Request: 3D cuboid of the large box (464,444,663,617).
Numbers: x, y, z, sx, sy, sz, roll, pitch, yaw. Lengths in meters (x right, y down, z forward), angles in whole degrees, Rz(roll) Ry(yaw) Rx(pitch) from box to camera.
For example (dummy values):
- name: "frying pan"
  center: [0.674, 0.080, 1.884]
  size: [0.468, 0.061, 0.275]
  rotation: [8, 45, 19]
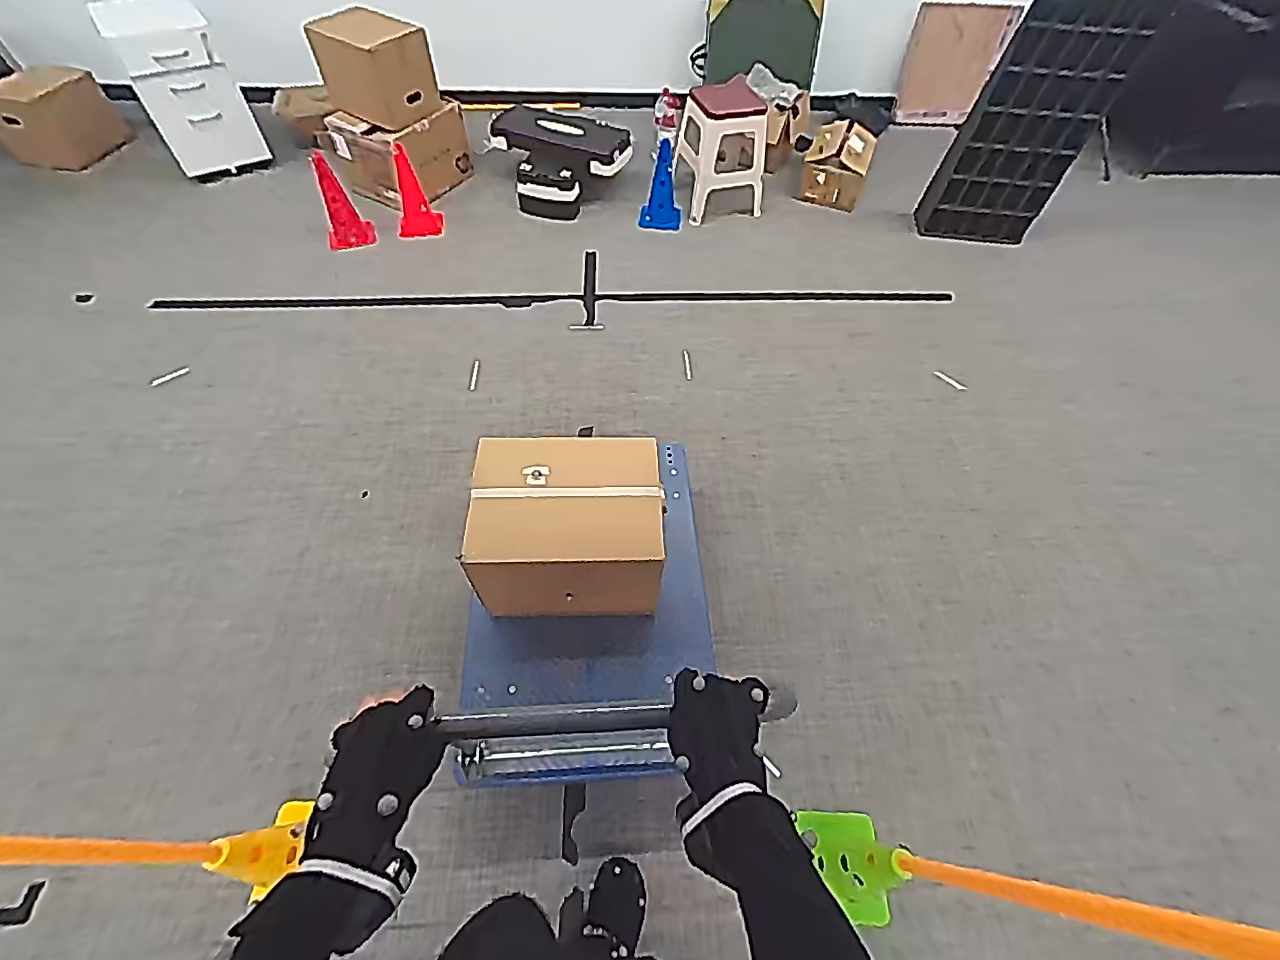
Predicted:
- name: "large box"
  center: [-0.160, 0.128, 1.285]
  size: [0.408, 0.320, 0.320]
  rotation: [0, 56, -2]

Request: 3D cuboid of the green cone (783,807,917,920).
- name: "green cone"
  center: [0.432, 0.744, 1.053]
  size: [0.202, 0.368, 0.200]
  rotation: [3, 55, -2]
